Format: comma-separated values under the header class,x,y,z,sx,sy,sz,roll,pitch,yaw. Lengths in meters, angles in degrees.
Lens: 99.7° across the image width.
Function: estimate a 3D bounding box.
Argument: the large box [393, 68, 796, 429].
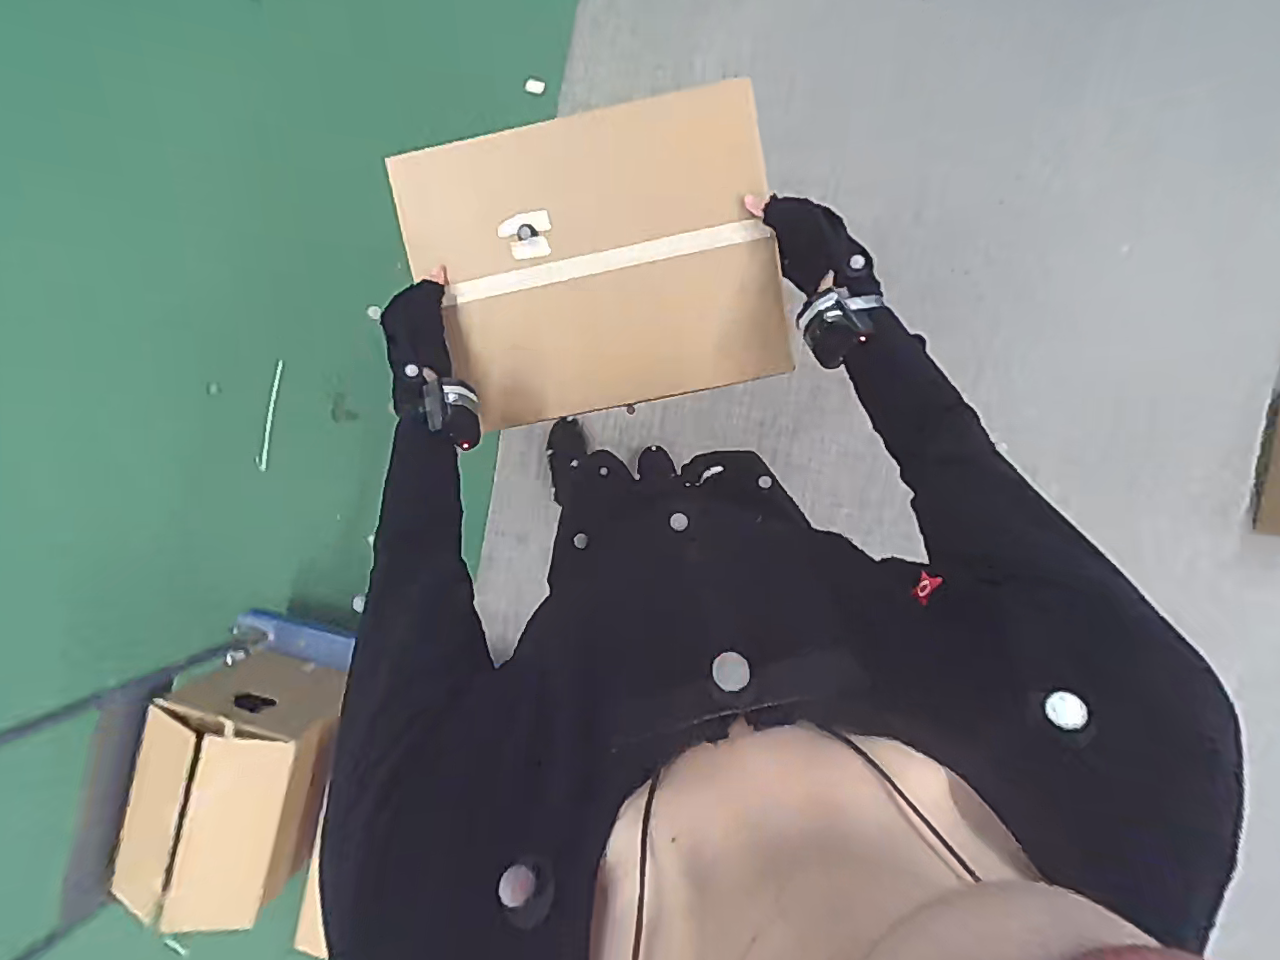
class,x,y,z,sx,sy,sz,roll,pitch,yaw
large box,-0.040,-0.269,0.739,0.408,0.320,0.320,-10,99,3
